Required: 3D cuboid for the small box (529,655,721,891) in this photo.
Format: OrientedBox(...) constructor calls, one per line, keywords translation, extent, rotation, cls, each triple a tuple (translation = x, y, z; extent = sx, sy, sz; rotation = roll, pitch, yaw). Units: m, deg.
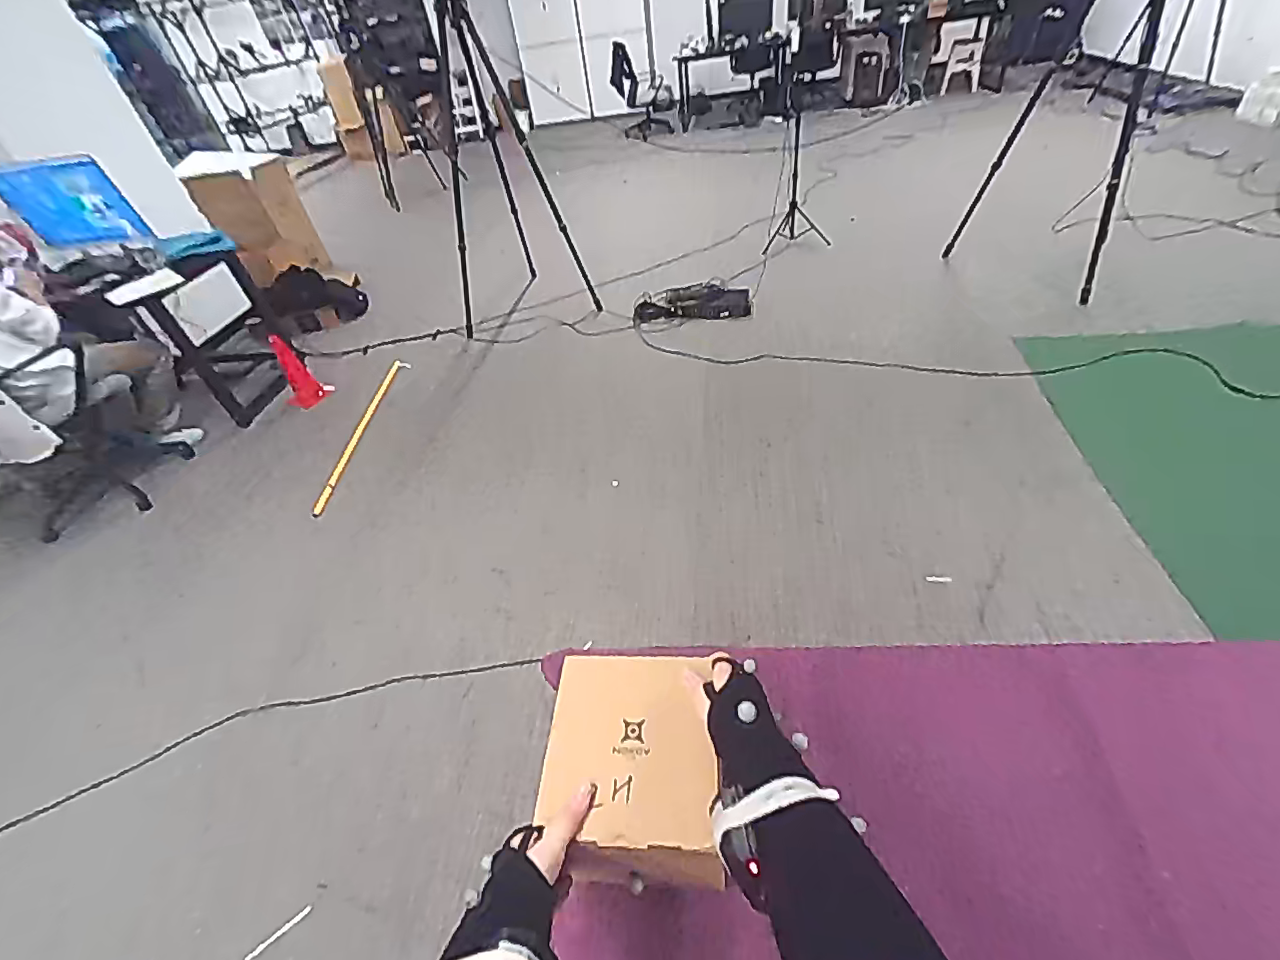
OrientedBox(translation=(0.000, 0.309, 0.577), extent=(0.168, 0.176, 0.179), rotation=(-2, 45, 10), cls="small box")
